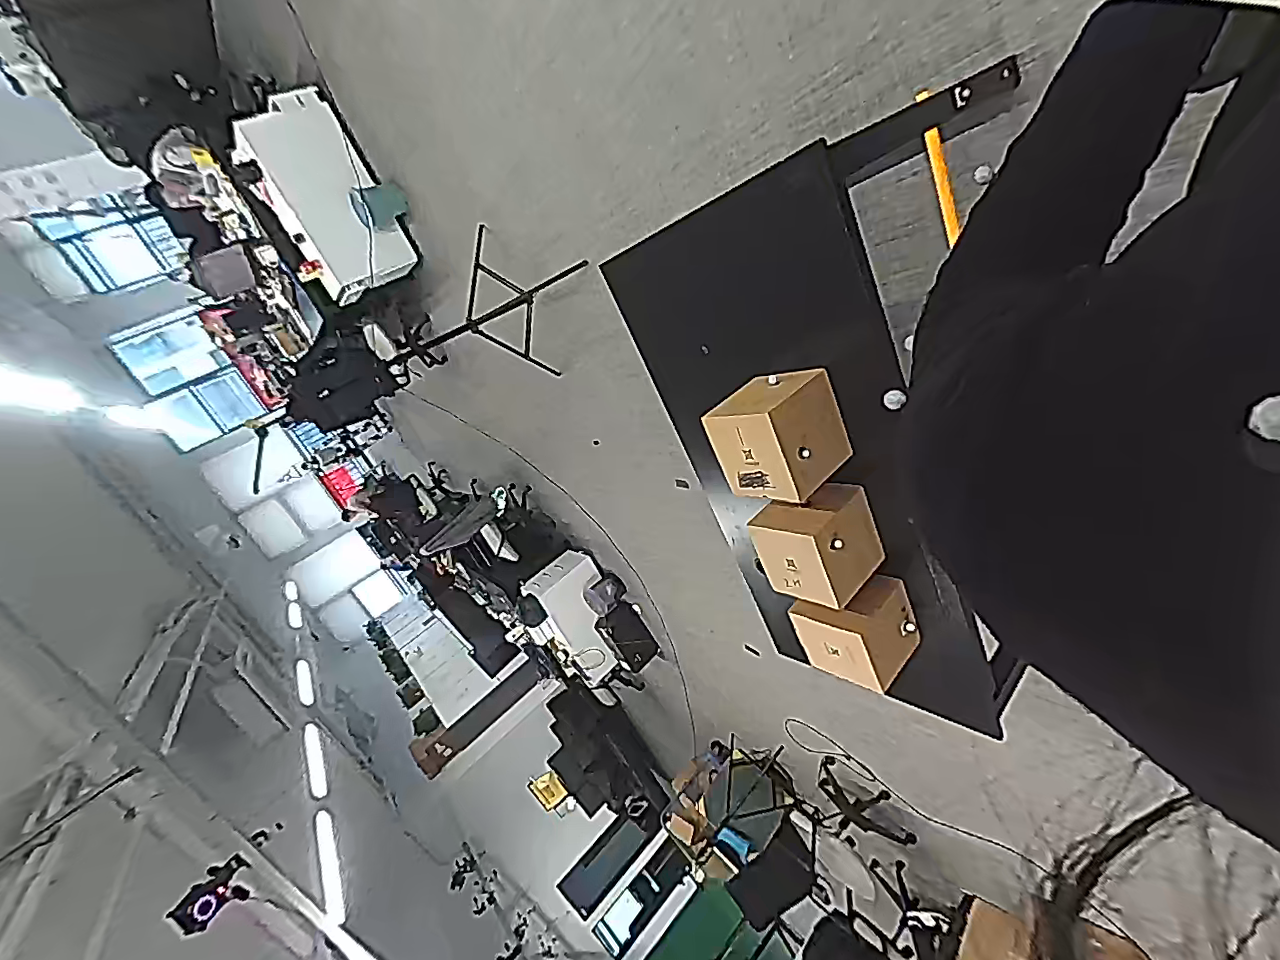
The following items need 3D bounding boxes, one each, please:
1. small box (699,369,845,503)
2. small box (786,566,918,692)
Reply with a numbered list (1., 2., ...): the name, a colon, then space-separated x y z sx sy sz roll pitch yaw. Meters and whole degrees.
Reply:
1. small box: 0.245 -0.082 0.988 0.168 0.176 0.179 6 128 55
2. small box: 0.447 0.303 1.140 0.179 0.176 0.168 4 127 55
